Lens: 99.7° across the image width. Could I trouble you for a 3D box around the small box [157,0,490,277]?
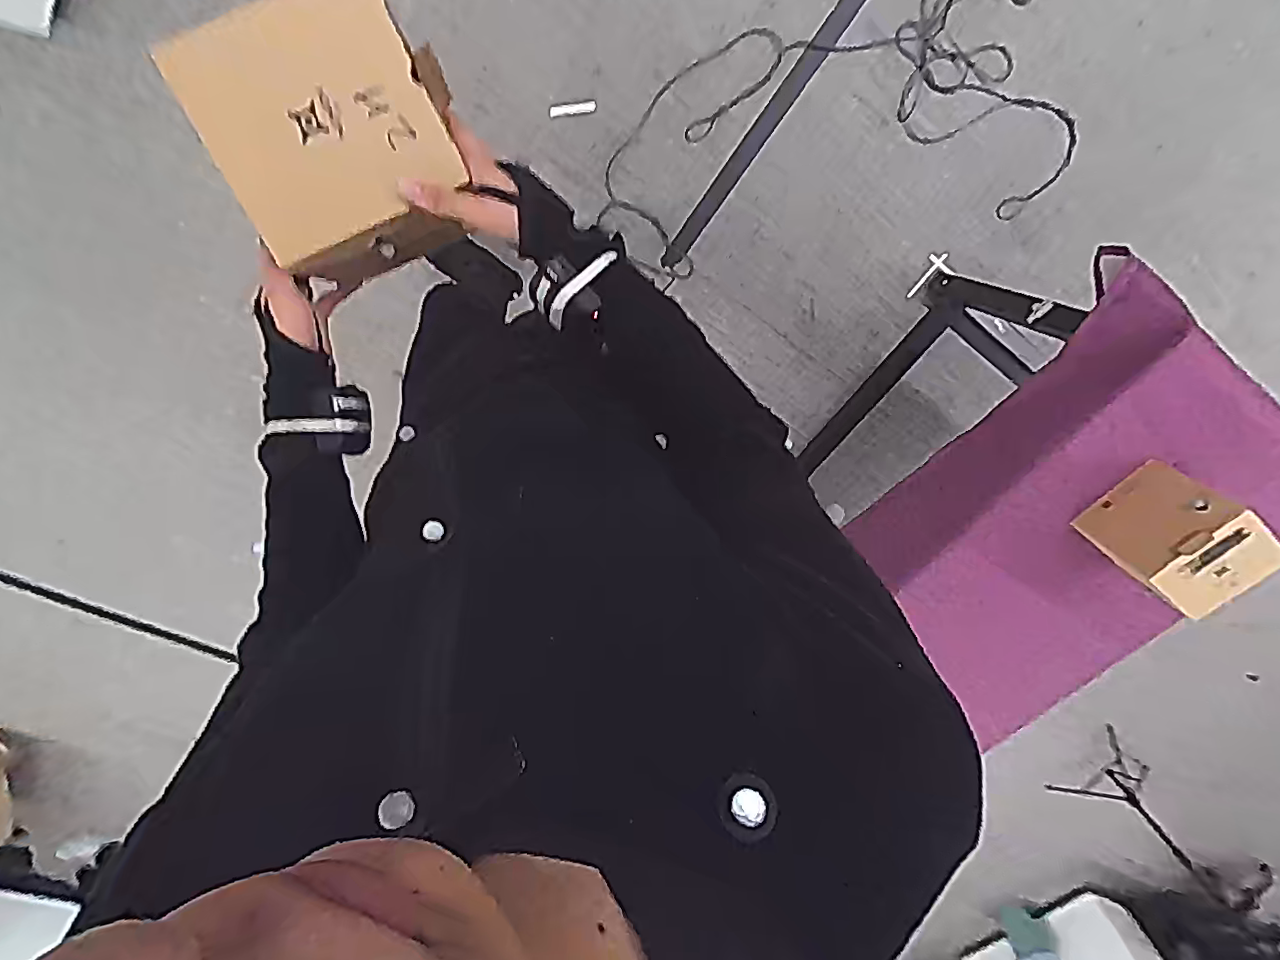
[{"bbox_3d":[-0.260,-0.305,0.499,0.179,0.176,0.168,-26,107,-2],"label":"small box"}]
